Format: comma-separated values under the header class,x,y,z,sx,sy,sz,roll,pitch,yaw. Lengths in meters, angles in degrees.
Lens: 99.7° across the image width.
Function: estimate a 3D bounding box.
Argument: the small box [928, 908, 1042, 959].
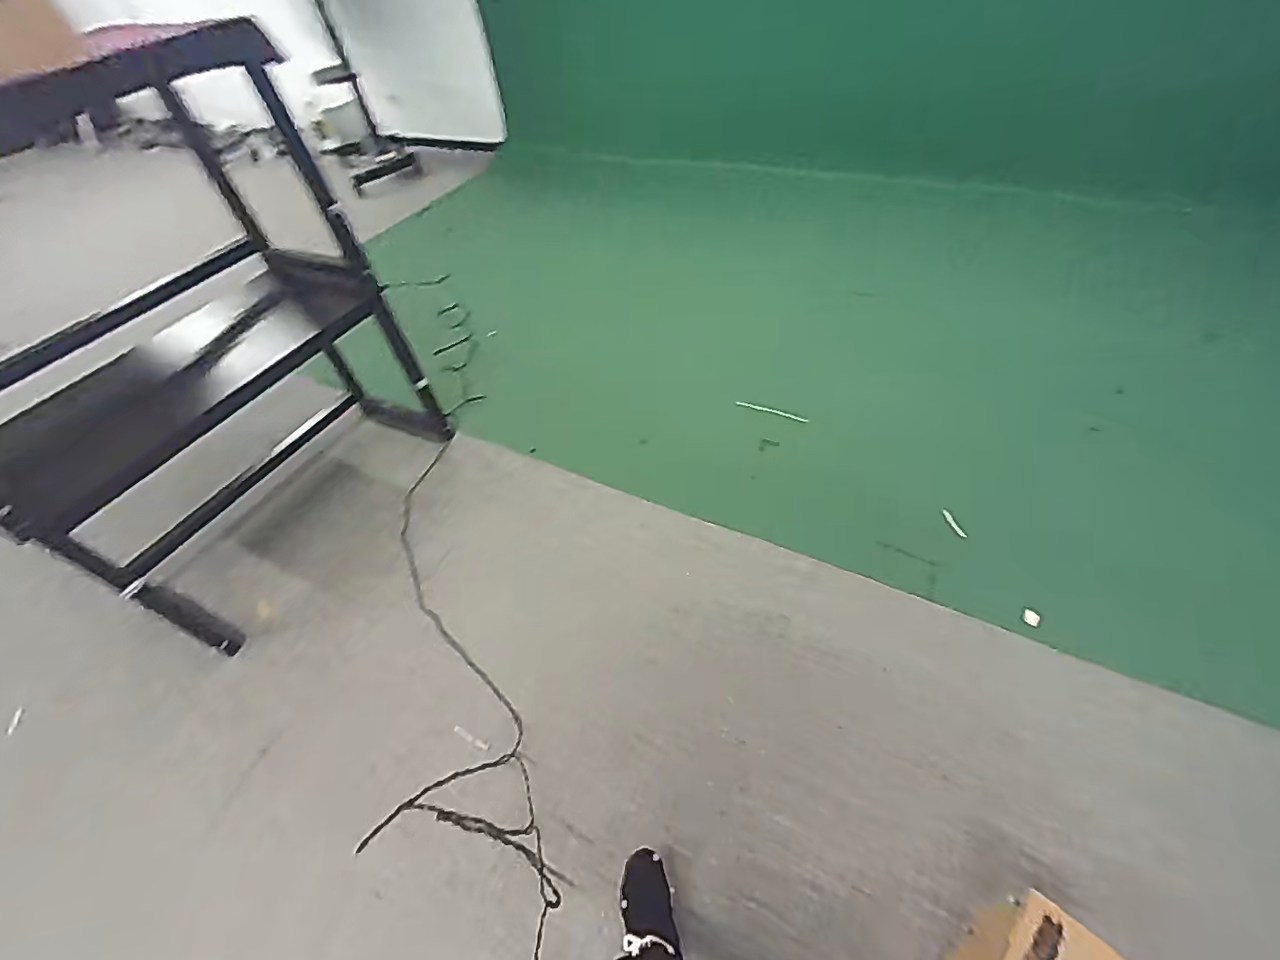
class,x,y,z,sx,sy,sz,roll,pitch,yaw
small box,0.698,0.997,1.066,0.168,0.176,0.179,-34,55,-20
